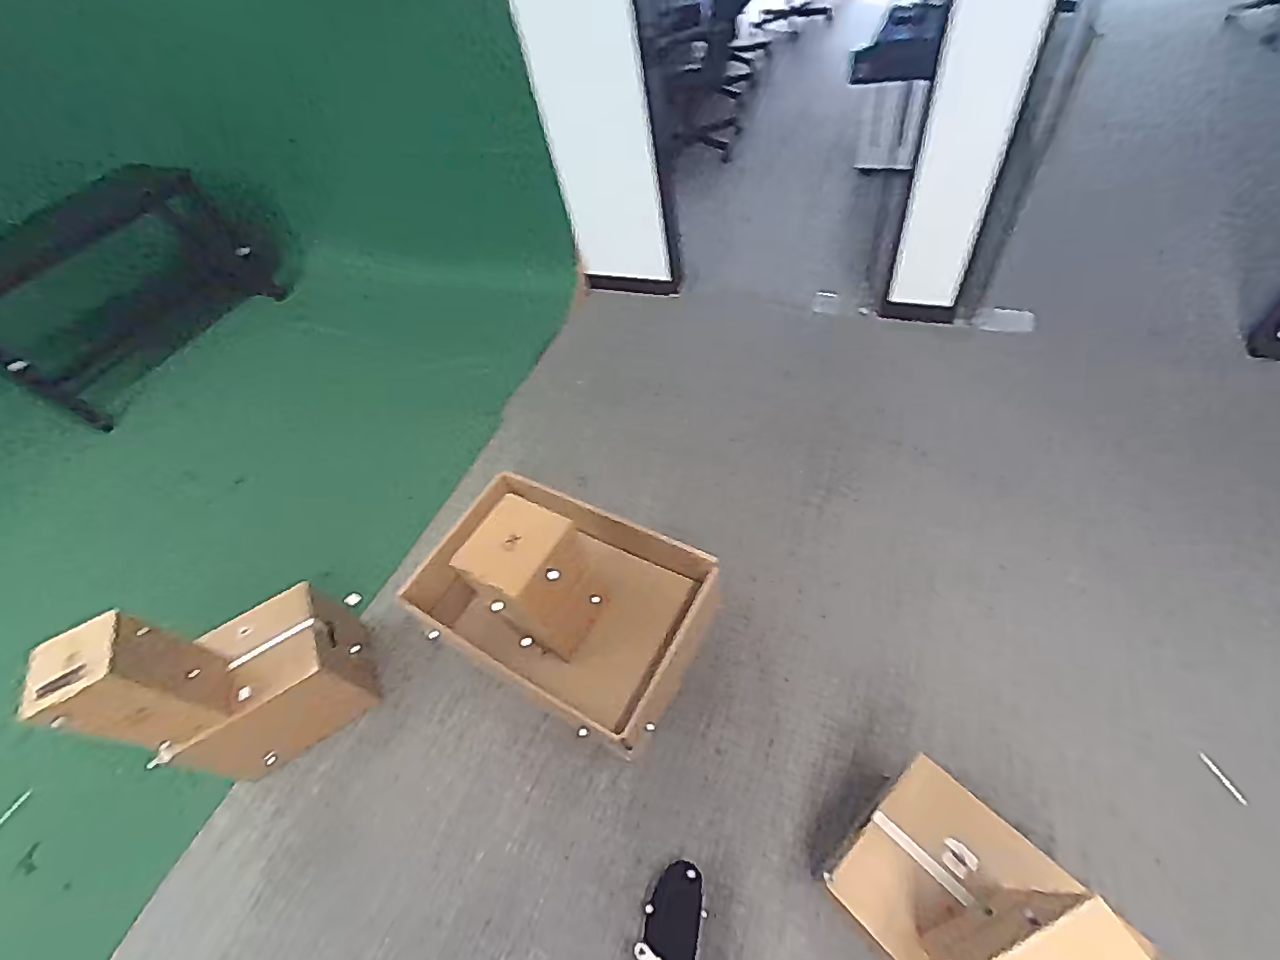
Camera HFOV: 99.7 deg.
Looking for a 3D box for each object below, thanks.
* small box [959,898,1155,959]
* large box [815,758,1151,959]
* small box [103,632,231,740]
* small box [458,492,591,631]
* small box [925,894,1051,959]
[{"bbox_3d":[0.532,0.643,0.661,0.179,0.176,0.168,-25,52,-5],"label":"small box"},{"bbox_3d":[0.599,0.828,1.029,0.320,0.320,0.408,-40,55,-19],"label":"large box"},{"bbox_3d":[-1.137,0.509,1.315,0.168,0.176,0.179,-26,52,-10],"label":"small box"},{"bbox_3d":[-0.212,0.160,1.057,0.168,0.176,0.179,21,61,26],"label":"small box"},{"bbox_3d":[0.559,0.738,0.793,0.179,0.176,0.168,-24,52,-6],"label":"small box"}]
